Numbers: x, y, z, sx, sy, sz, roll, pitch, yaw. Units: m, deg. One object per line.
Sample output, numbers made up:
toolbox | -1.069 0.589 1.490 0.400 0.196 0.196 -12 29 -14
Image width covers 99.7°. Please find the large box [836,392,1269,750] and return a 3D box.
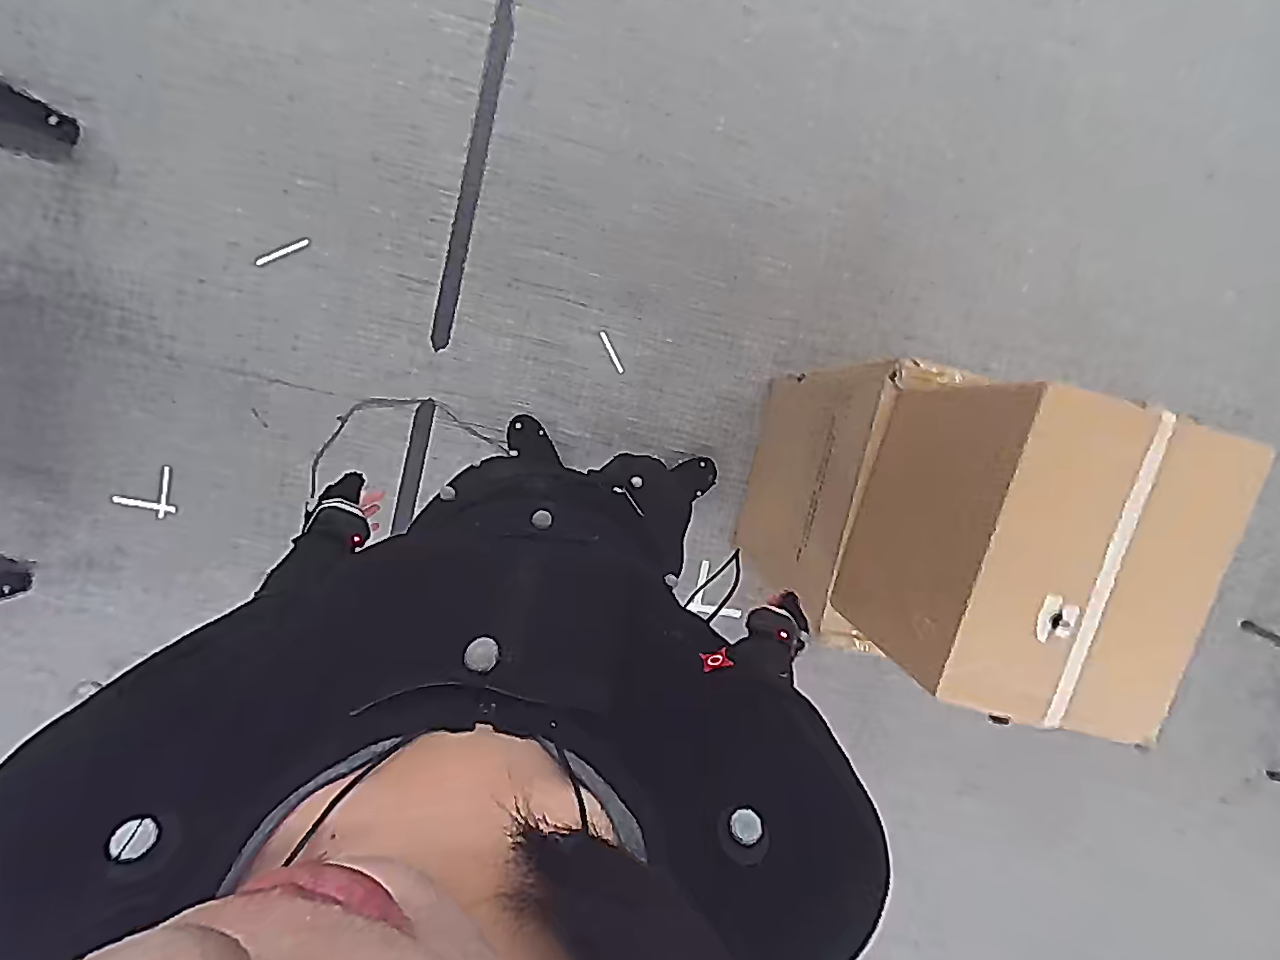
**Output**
large box | 0.546 0.099 0.798 0.320 0.320 0.408 15 97 -6
